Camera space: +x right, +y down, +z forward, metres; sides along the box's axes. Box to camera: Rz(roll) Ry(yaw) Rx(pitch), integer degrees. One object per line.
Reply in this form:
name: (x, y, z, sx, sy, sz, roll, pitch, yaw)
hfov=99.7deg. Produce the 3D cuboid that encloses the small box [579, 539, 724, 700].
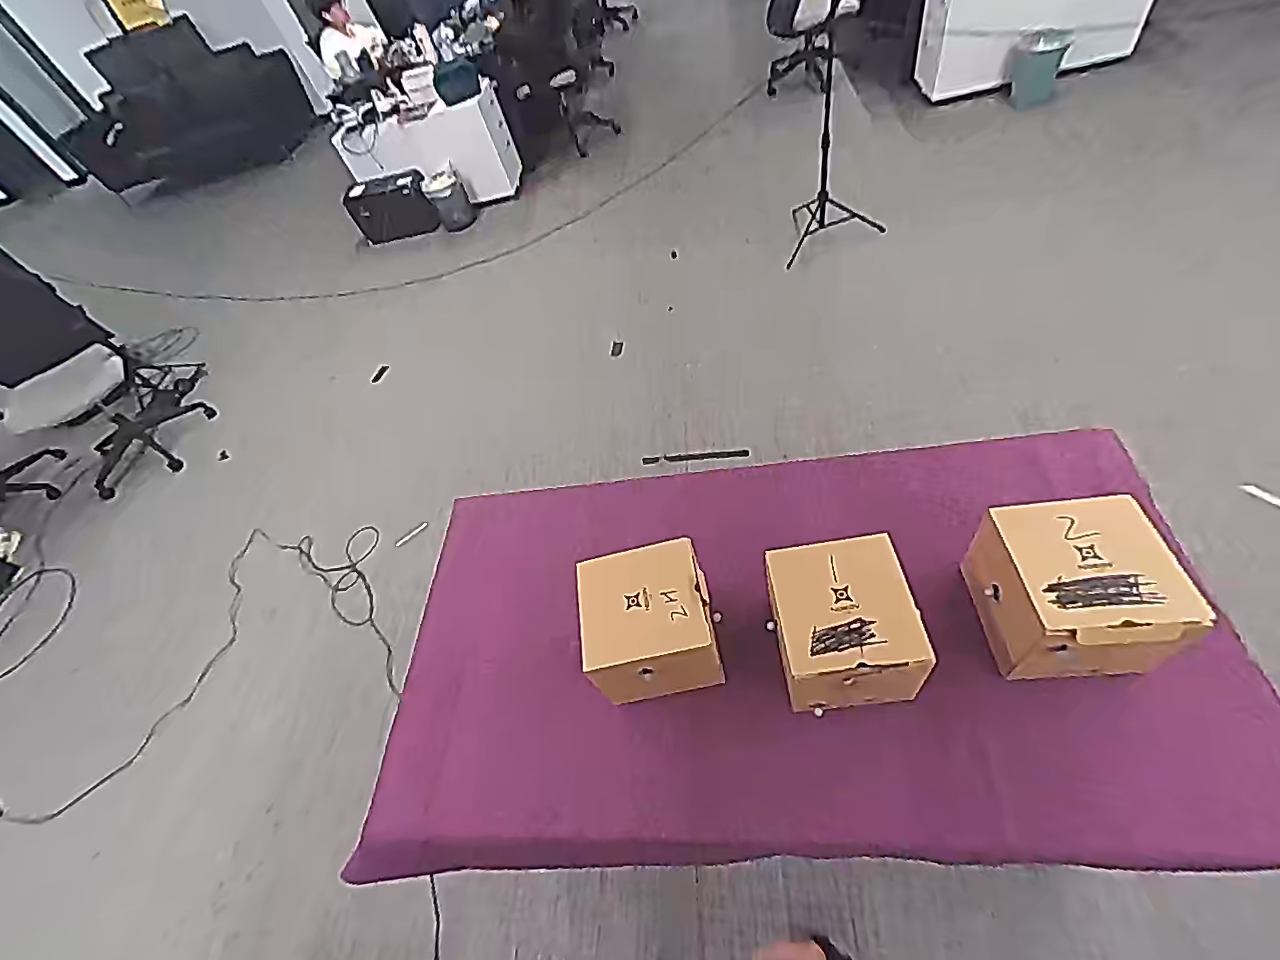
small box: (0.018, 0.215, 0.810, 0.179, 0.176, 0.168, -13, 52, 6)

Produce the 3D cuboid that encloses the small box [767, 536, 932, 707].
small box: (0.276, 0.203, 0.747, 0.168, 0.176, 0.179, -9, 51, 8)
